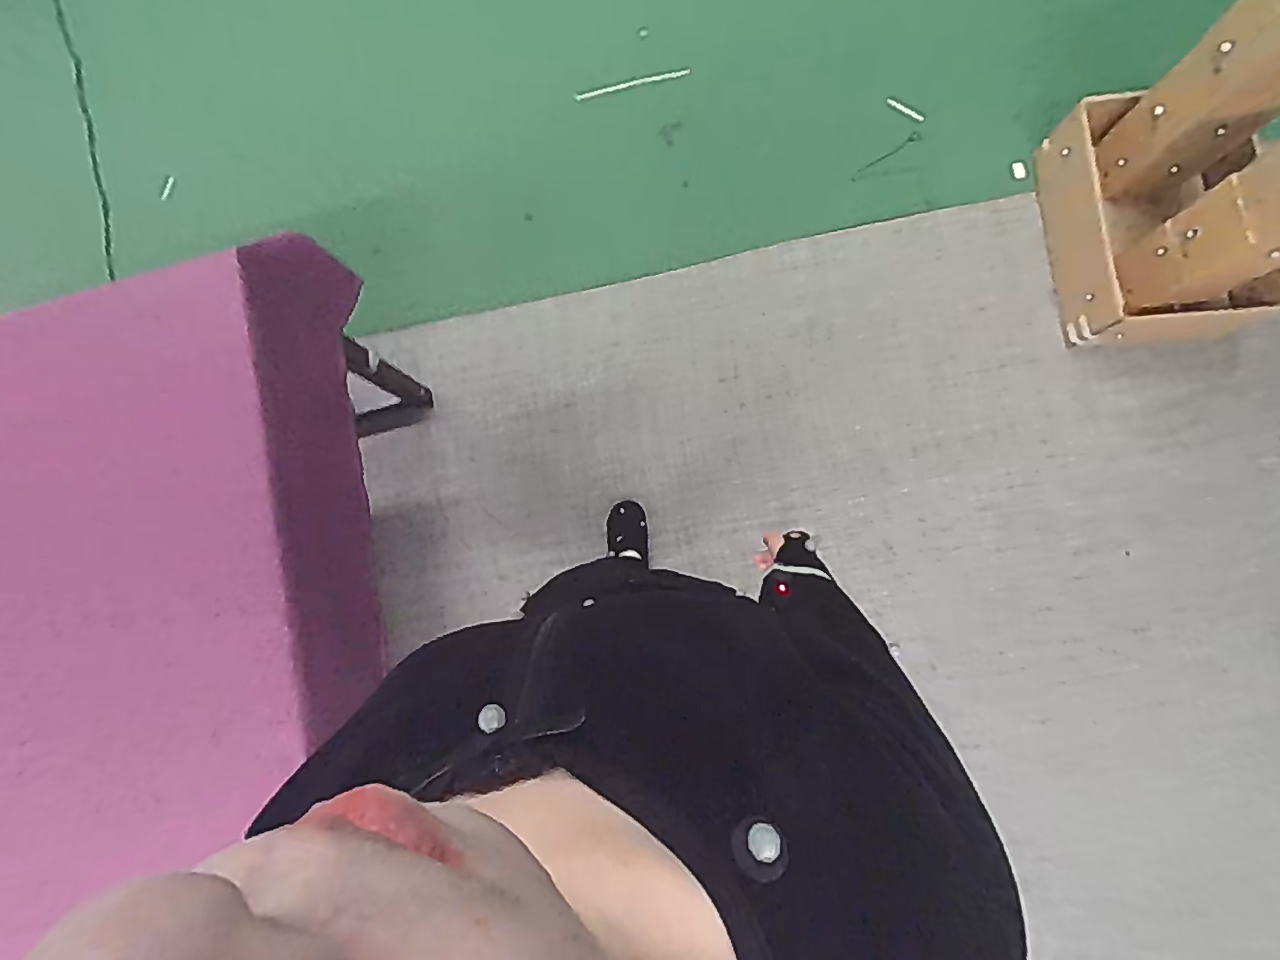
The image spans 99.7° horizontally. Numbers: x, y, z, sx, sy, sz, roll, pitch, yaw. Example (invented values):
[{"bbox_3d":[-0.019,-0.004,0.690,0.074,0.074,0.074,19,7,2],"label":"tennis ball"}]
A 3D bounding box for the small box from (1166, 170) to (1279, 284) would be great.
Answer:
[{"bbox_3d":[1.349,-0.560,1.207,0.179,0.176,0.168,-4,81,5],"label":"small box"}]

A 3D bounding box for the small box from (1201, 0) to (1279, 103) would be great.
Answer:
[{"bbox_3d":[1.311,-0.906,1.093,0.179,0.176,0.168,-2,83,5],"label":"small box"}]

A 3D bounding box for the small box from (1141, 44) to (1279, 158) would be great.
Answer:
[{"bbox_3d":[1.330,-0.881,1.255,0.179,0.176,0.168,0,83,6],"label":"small box"}]
